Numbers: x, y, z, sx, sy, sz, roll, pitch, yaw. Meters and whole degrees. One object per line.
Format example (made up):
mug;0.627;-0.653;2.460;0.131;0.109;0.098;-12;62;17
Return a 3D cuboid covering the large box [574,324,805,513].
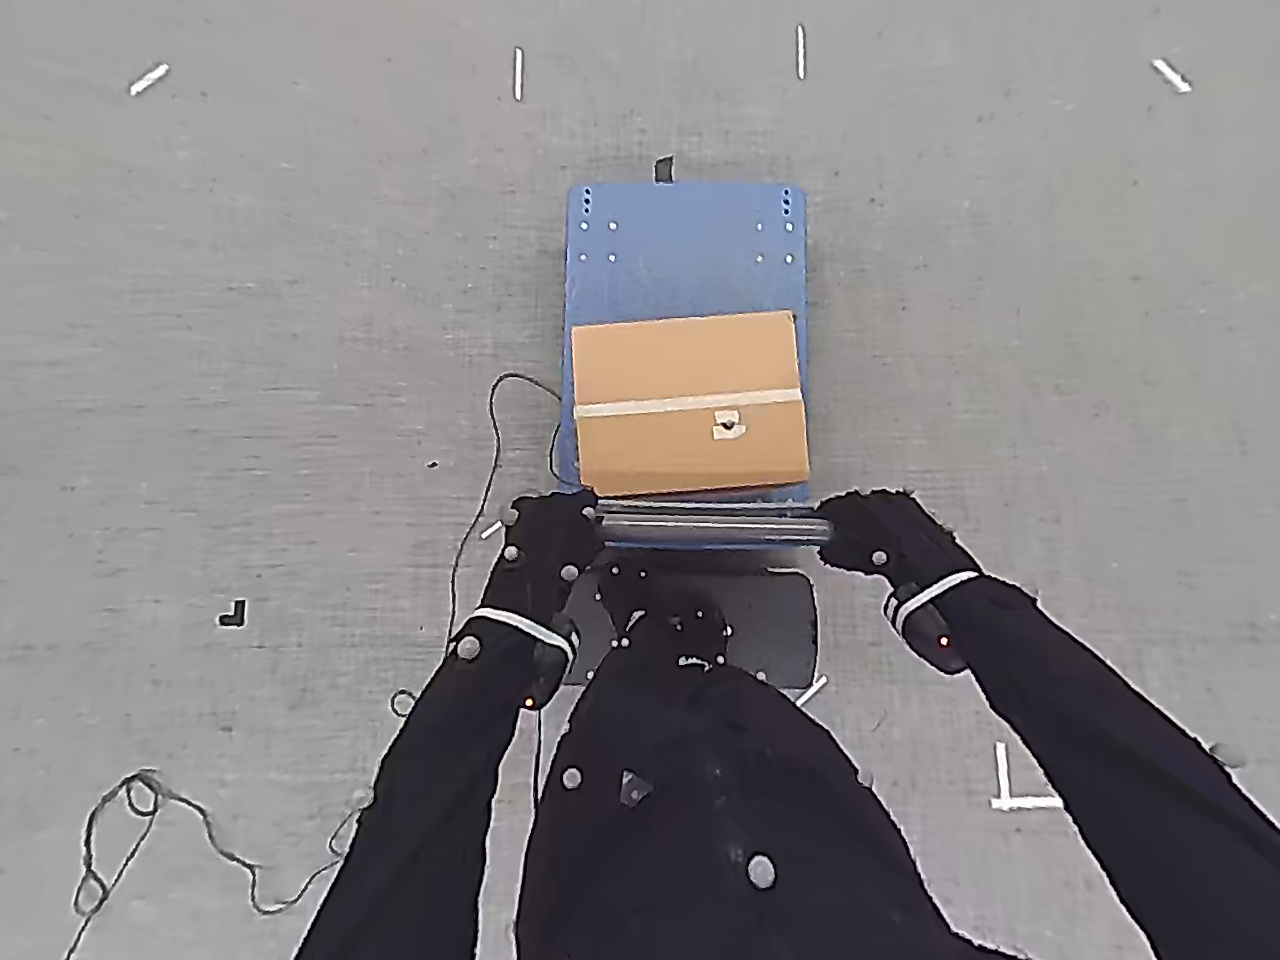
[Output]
large box;0.087;-0.105;1.133;0.408;0.320;0.320;-4;85;0
